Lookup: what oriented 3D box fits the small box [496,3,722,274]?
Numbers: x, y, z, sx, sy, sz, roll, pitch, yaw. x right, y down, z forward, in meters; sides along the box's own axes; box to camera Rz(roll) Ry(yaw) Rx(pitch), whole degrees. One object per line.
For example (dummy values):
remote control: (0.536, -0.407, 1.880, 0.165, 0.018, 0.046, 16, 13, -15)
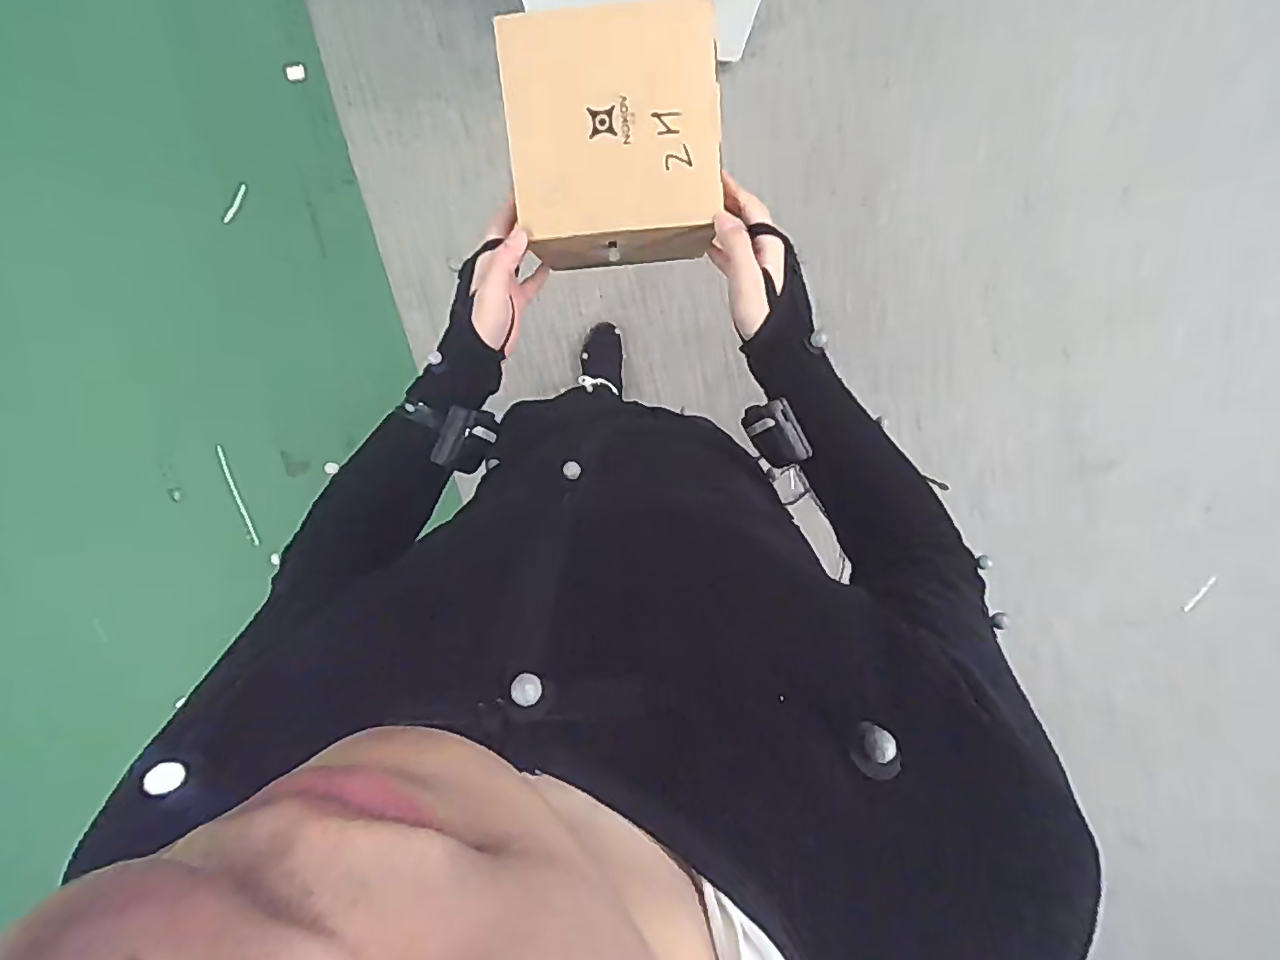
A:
small box: (-0.021, -0.301, 0.516, 0.179, 0.176, 0.168, -4, 102, 1)
